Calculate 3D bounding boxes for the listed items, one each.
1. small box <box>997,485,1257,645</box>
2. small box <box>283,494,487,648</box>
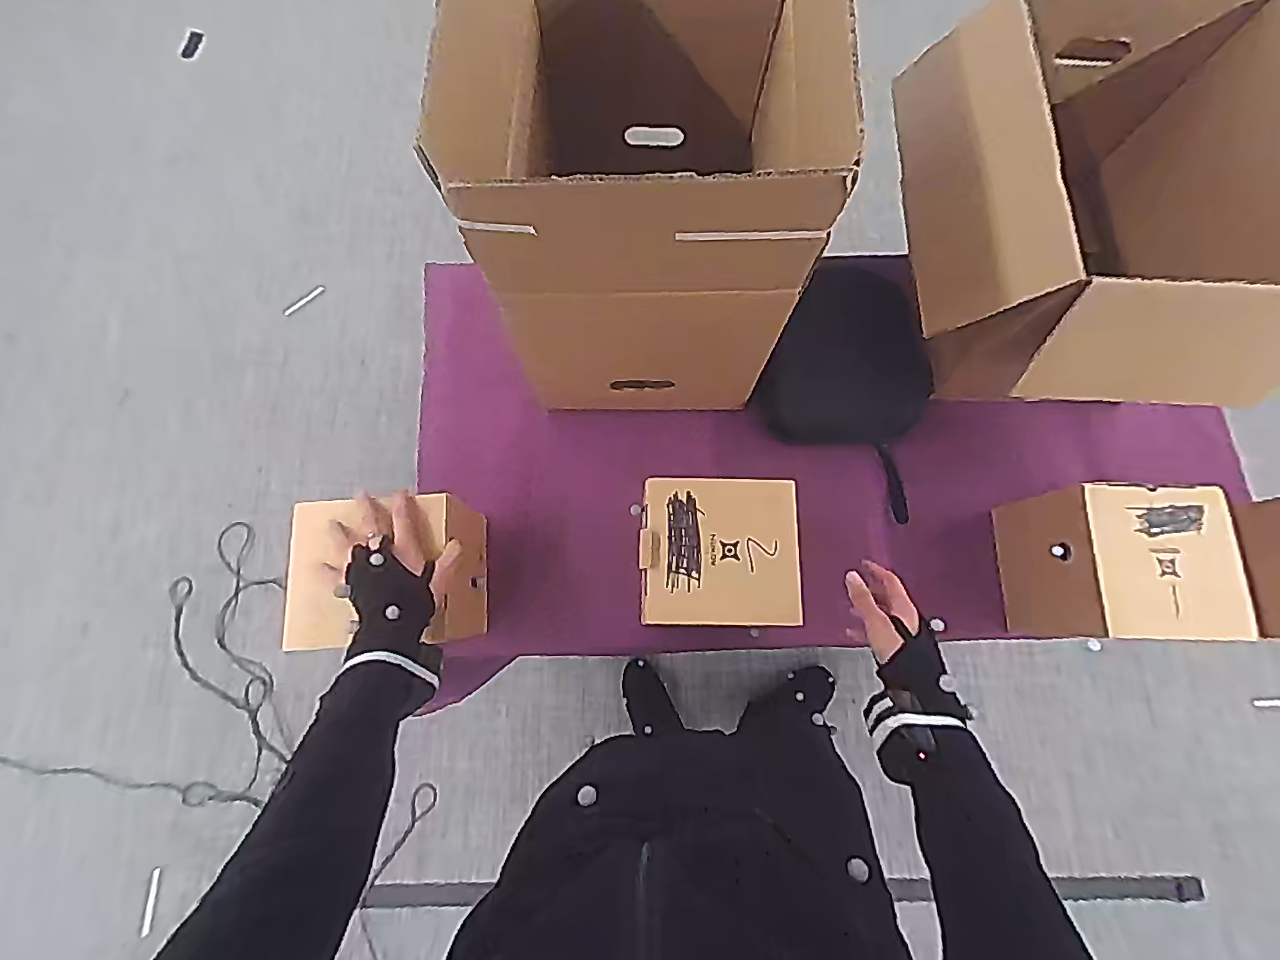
[{"bbox_3d":[0.586,0.112,0.681,0.168,0.176,0.179,1,76,0],"label":"small box"},{"bbox_3d":[-0.301,0.120,0.677,0.179,0.176,0.168,-3,76,-3],"label":"small box"}]
